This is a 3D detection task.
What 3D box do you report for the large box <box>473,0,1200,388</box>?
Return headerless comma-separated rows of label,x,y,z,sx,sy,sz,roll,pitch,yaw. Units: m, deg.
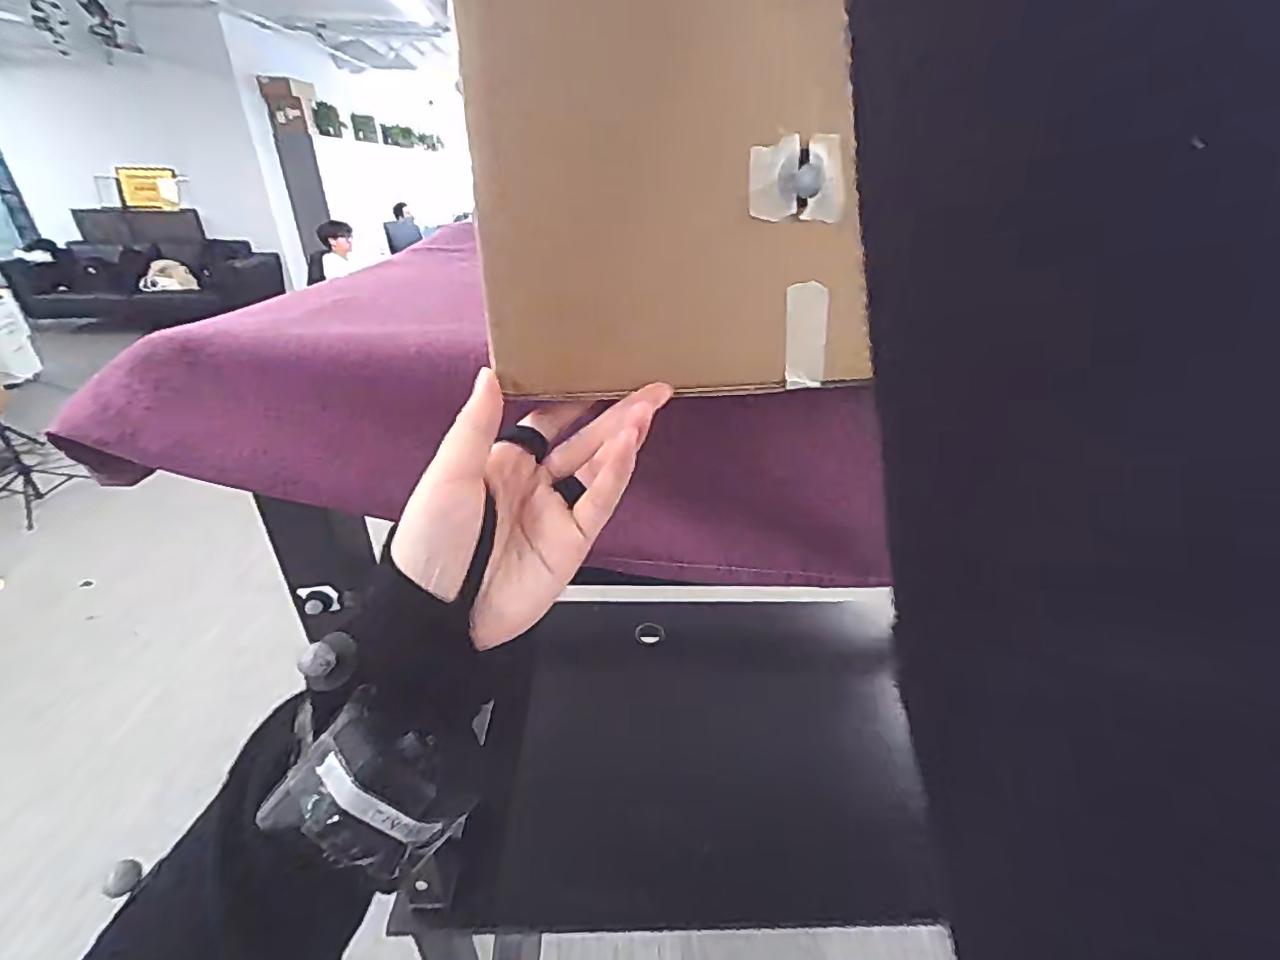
large box,0.052,-0.277,0.370,0.320,0.320,0.408,-4,28,-10
